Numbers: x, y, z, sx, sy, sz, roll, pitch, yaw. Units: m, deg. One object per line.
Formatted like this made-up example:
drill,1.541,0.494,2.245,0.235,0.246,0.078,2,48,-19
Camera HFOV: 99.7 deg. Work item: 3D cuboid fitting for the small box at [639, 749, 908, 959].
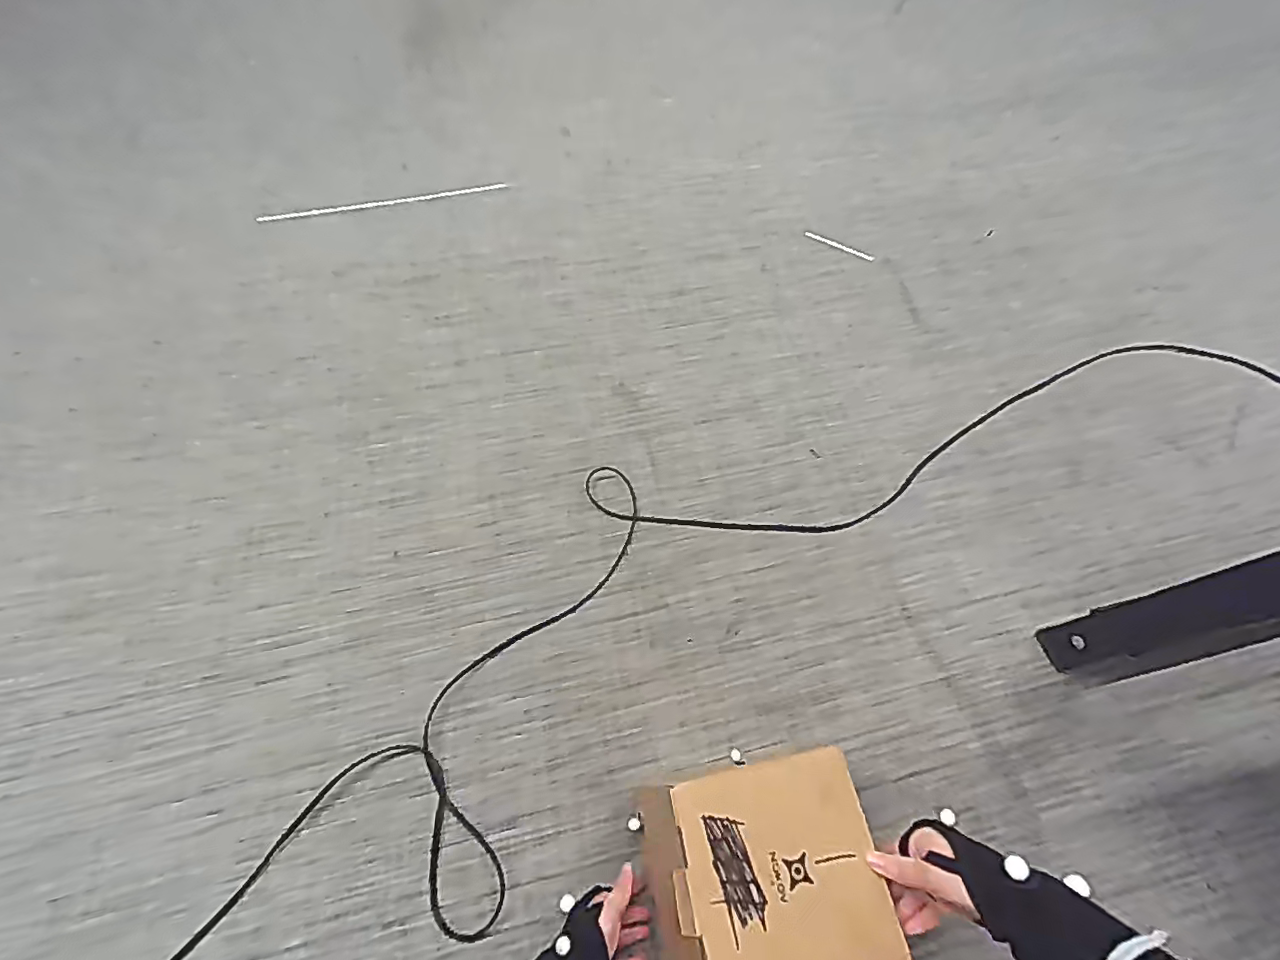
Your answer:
small box,0.106,0.372,0.522,0.179,0.176,0.168,-3,62,-18
